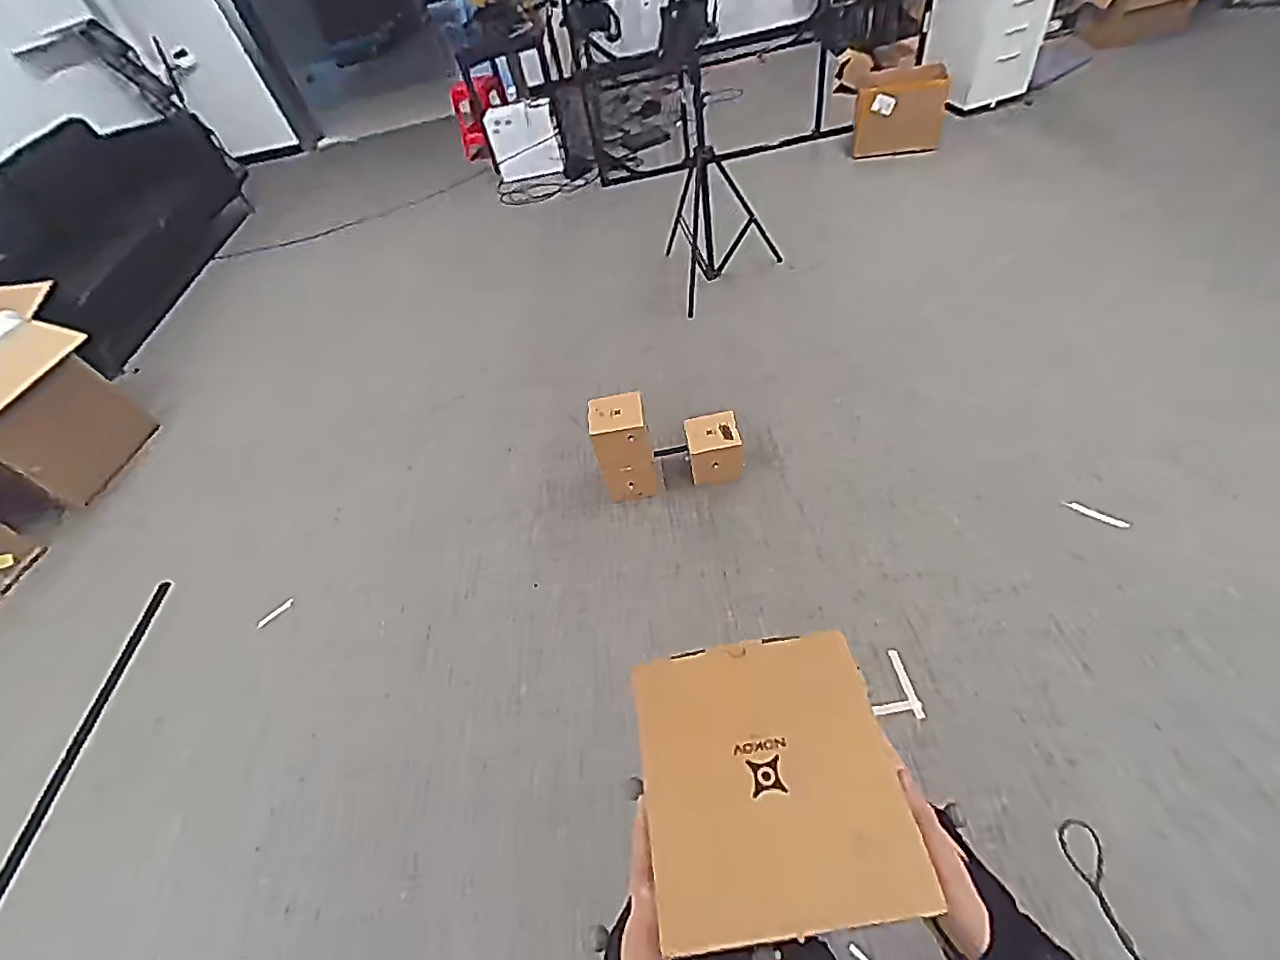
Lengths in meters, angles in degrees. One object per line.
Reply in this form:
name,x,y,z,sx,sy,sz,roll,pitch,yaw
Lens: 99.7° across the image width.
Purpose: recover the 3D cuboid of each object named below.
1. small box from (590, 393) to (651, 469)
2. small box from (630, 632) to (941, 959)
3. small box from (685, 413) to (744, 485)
small box,-0.060,-0.156,1.764,0.179,0.176,0.168,-10,49,5
small box,0.092,0.246,0.417,0.168,0.176,0.179,-10,47,1
small box,0.259,-0.104,1.865,0.179,0.176,0.168,-11,50,6
